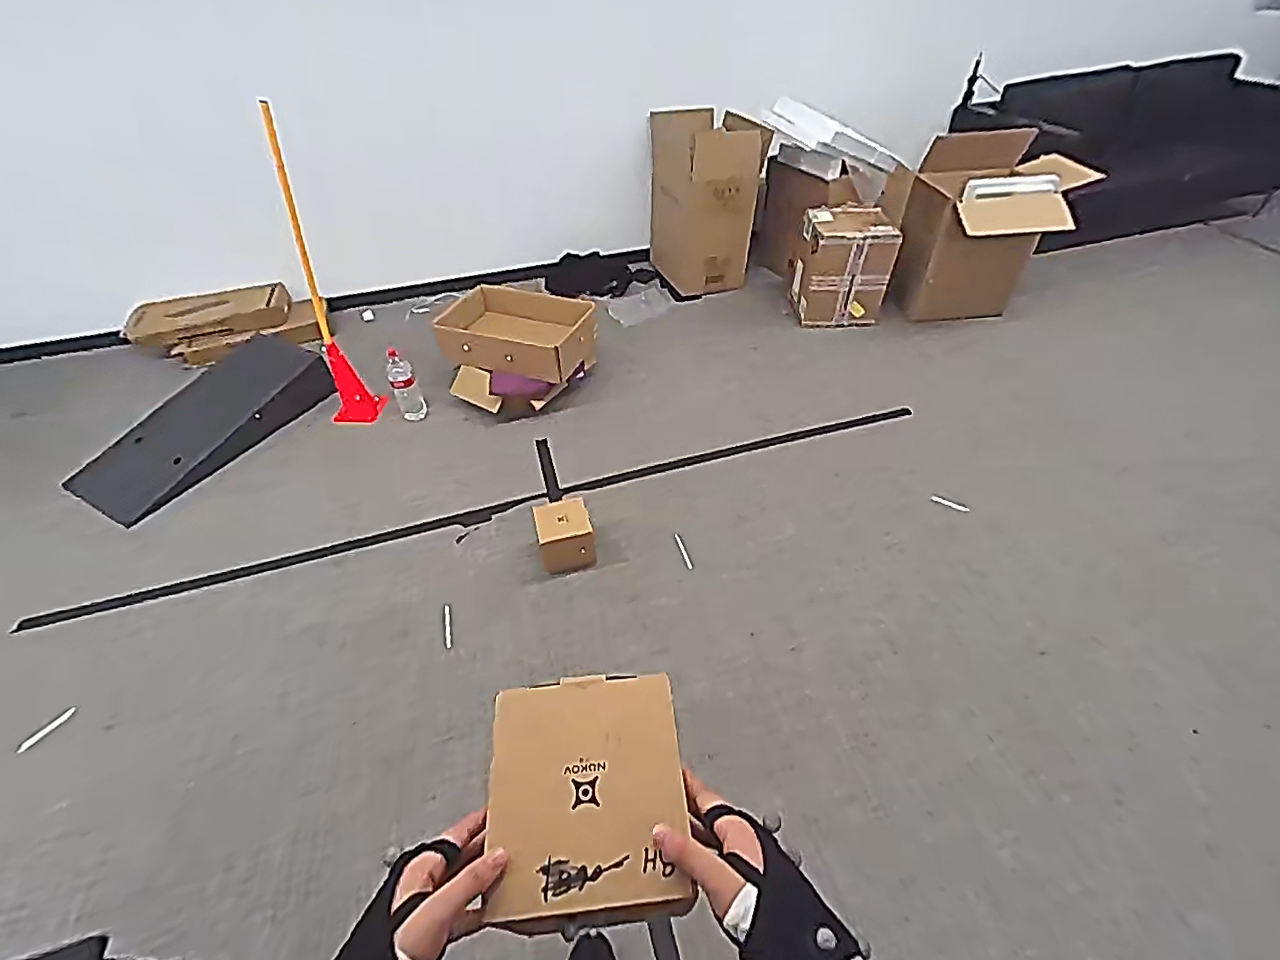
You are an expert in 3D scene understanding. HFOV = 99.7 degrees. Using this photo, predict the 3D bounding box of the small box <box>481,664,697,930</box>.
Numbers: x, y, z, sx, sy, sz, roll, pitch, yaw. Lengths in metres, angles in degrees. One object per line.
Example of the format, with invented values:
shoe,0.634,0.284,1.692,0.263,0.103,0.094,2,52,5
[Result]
small box,-0.043,0.304,0.521,0.168,0.176,0.179,-7,46,-2

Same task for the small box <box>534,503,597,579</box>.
small box,-0.248,0.209,1.835,0.179,0.176,0.168,-14,45,-10
